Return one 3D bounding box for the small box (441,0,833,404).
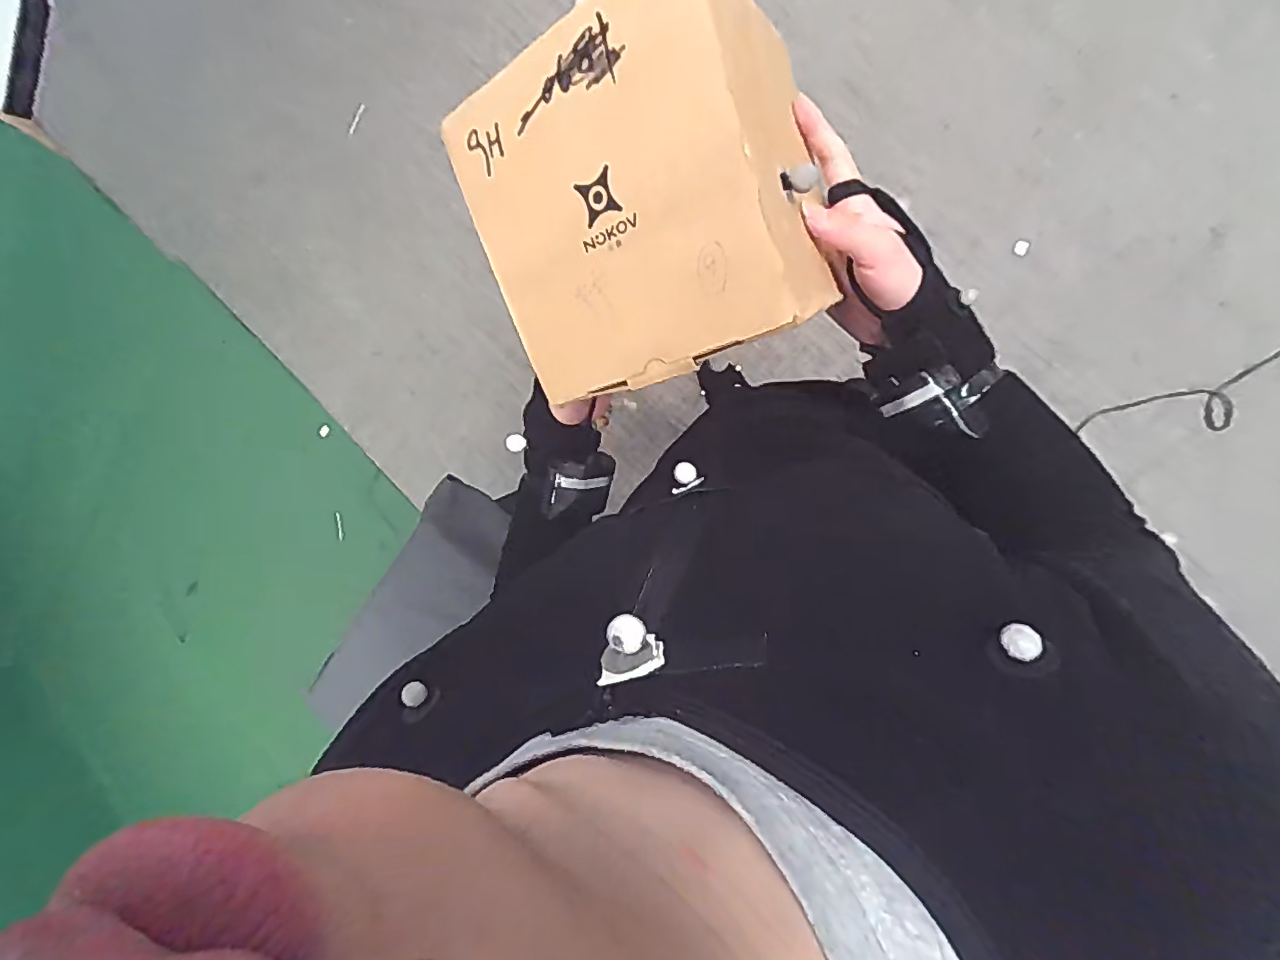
[{"bbox_3d":[0.016,-0.171,0.355,0.168,0.176,0.179,-12,106,31],"label":"small box"}]
